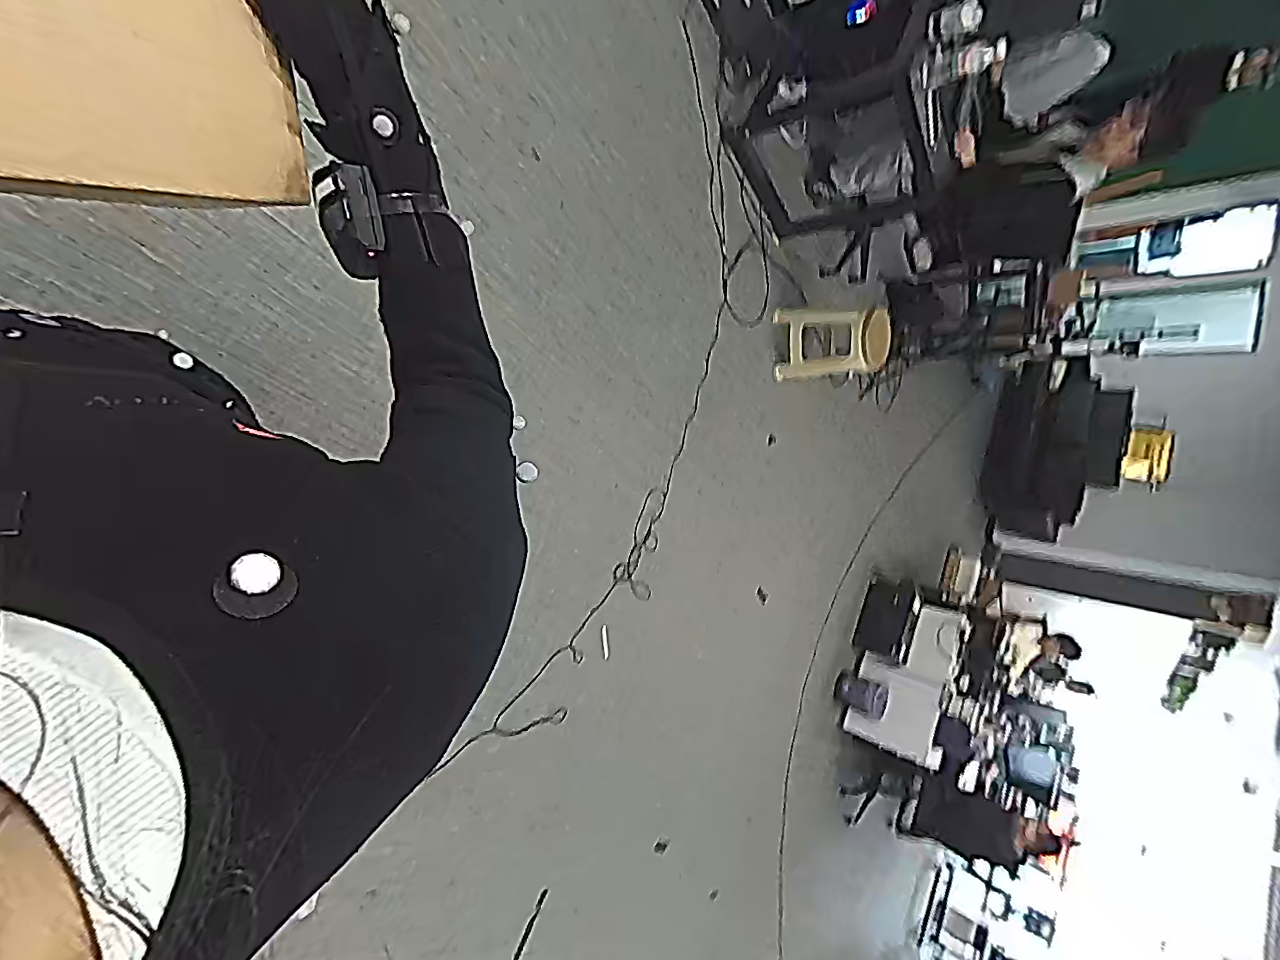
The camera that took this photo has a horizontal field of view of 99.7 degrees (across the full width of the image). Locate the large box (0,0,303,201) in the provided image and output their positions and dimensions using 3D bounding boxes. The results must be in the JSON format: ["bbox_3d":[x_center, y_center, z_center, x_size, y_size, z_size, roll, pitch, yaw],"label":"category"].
[{"bbox_3d":[-0.490,-0.344,0.301,0.408,0.320,0.320,-22,124,-43],"label":"large box"}]
